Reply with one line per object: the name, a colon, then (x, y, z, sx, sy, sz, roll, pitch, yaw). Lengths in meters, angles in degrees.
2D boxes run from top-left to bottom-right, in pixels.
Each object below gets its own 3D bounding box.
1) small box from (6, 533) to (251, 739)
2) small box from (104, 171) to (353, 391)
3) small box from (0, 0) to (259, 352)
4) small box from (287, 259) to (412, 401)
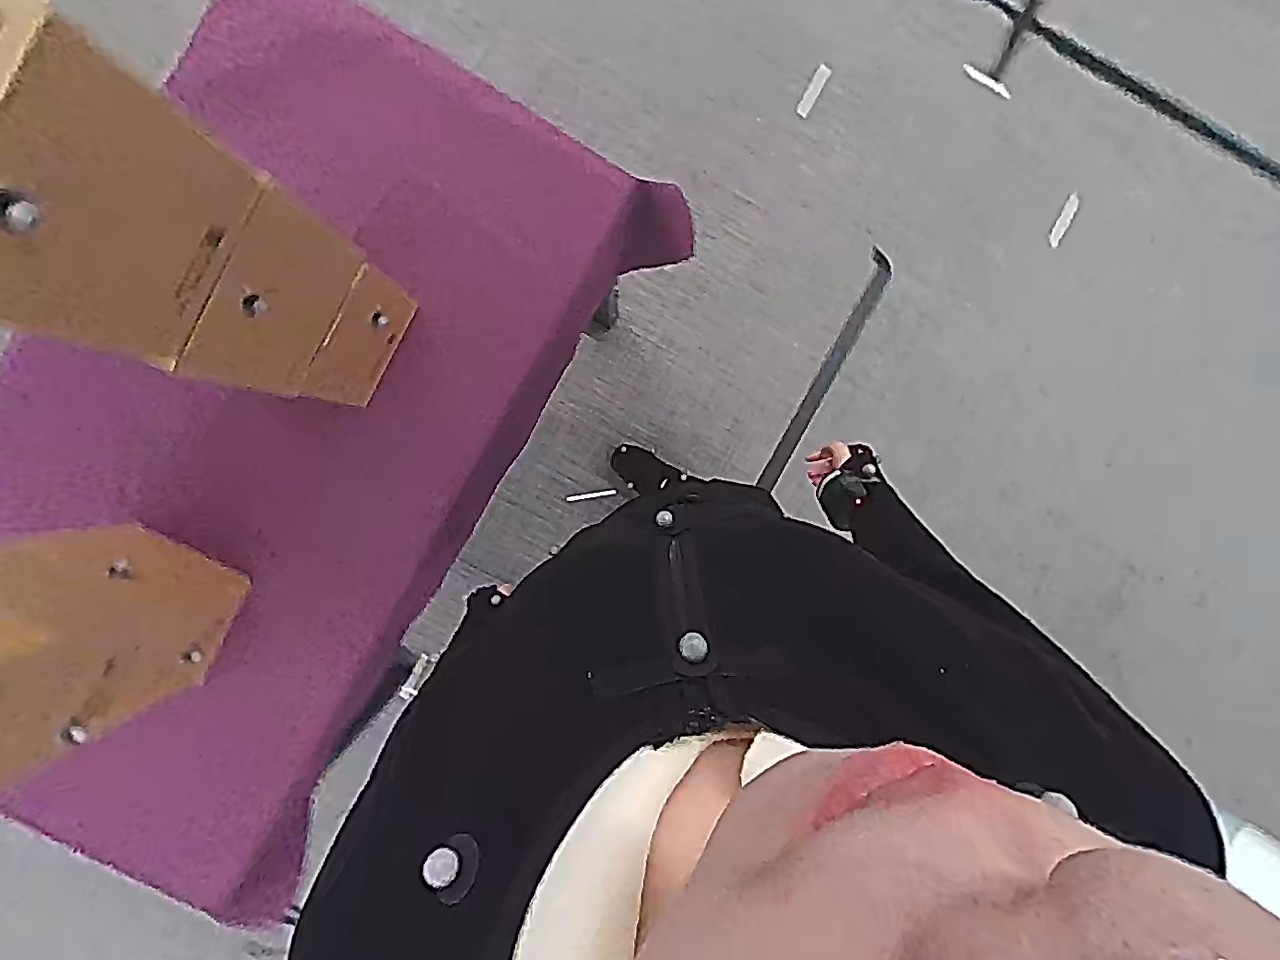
small box: (-0.649, 0.176, 0.674, 0.179, 0.176, 0.168, 27, 91, -4)
small box: (-0.407, -0.199, 0.503, 0.168, 0.176, 0.179, 27, 90, -4)
small box: (-0.401, -0.199, 0.339, 0.179, 0.176, 0.168, 28, 91, -3)
small box: (-0.417, -0.208, 0.667, 0.179, 0.176, 0.168, 28, 91, -3)
